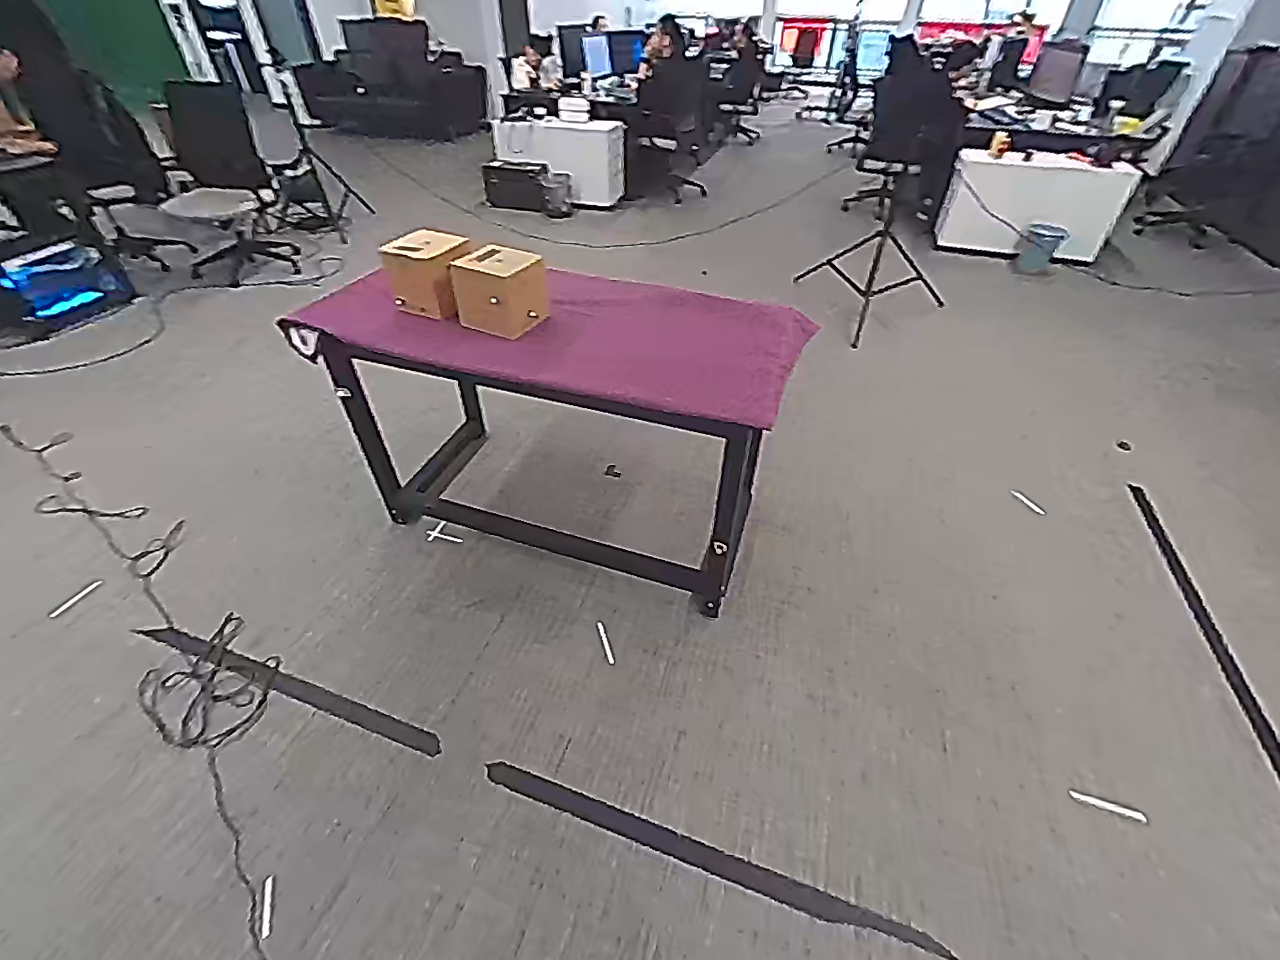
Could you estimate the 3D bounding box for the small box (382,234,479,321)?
[{"bbox_3d":[-0.574,-0.564,1.508,0.168,0.176,0.179,18,45,17],"label":"small box"}]
